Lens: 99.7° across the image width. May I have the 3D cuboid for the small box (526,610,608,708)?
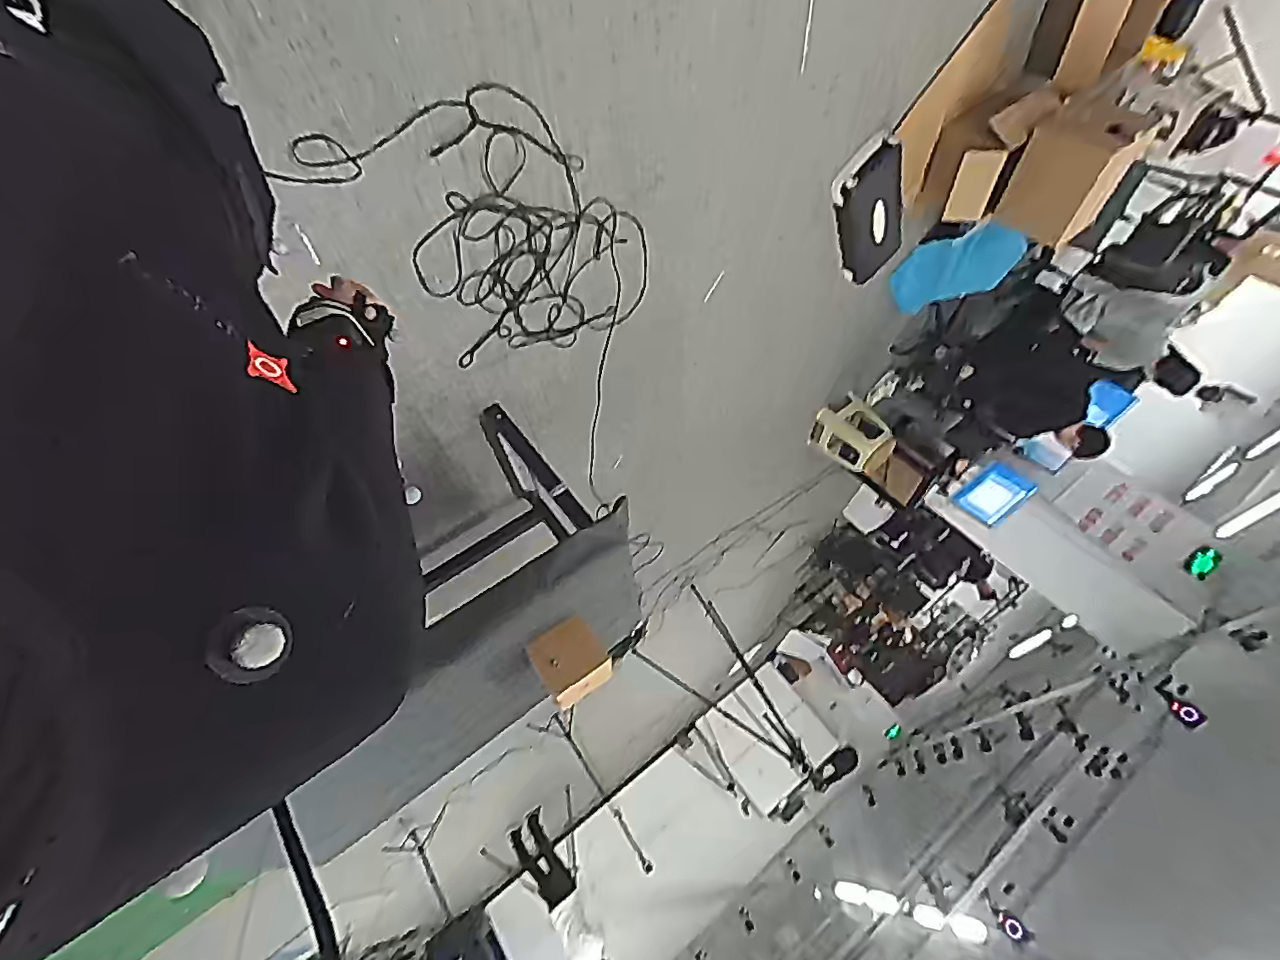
[{"bbox_3d":[-0.208,0.504,1.529,0.179,0.176,0.168,-32,151,-22],"label":"small box"}]
